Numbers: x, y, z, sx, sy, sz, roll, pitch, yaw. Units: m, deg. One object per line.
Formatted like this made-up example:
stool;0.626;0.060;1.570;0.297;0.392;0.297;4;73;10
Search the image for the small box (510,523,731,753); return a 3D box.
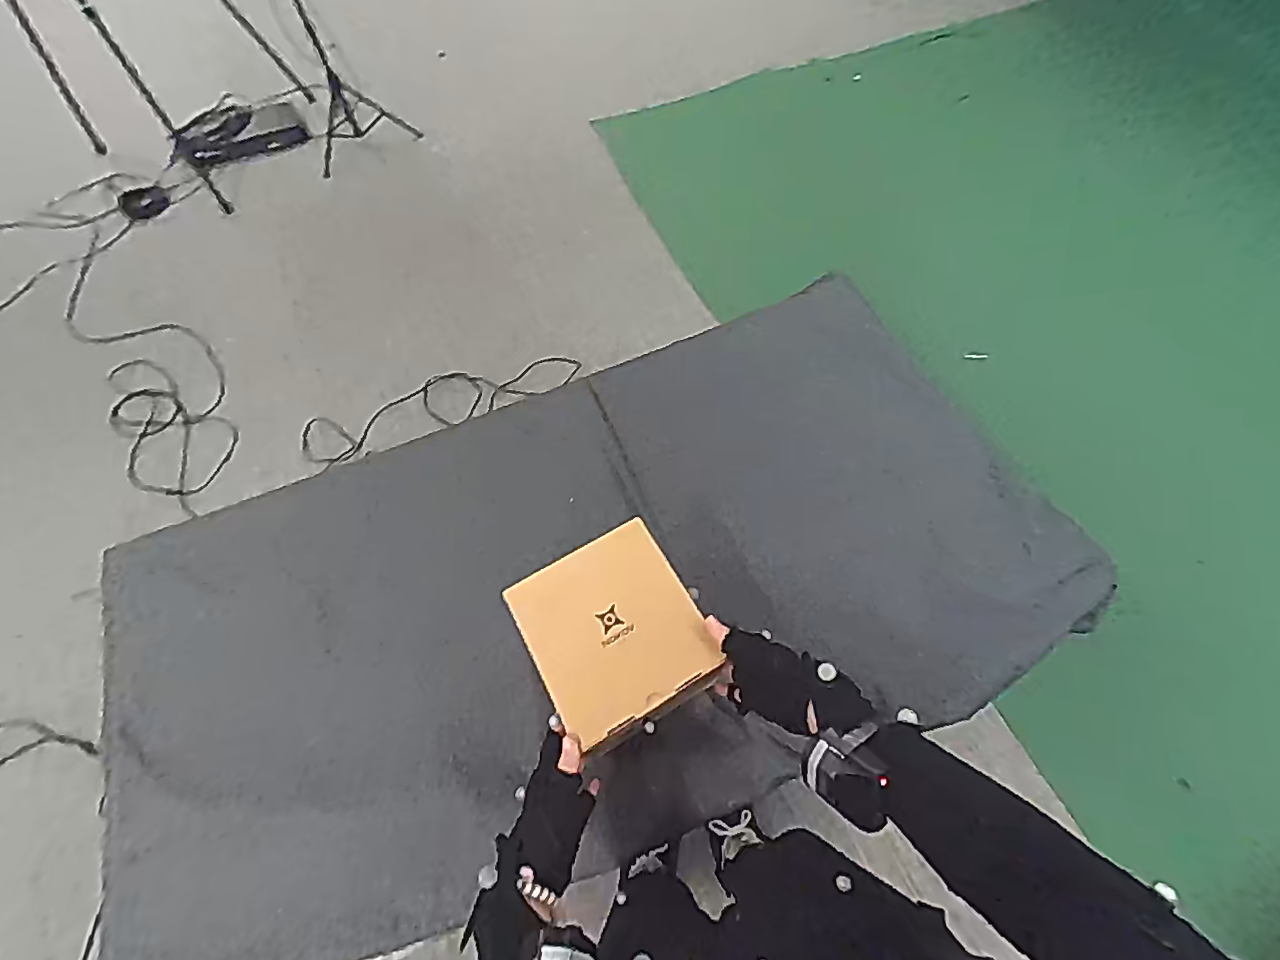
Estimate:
small box;-0.023;0.184;0.608;0.168;0.176;0.179;-29;66;-13
